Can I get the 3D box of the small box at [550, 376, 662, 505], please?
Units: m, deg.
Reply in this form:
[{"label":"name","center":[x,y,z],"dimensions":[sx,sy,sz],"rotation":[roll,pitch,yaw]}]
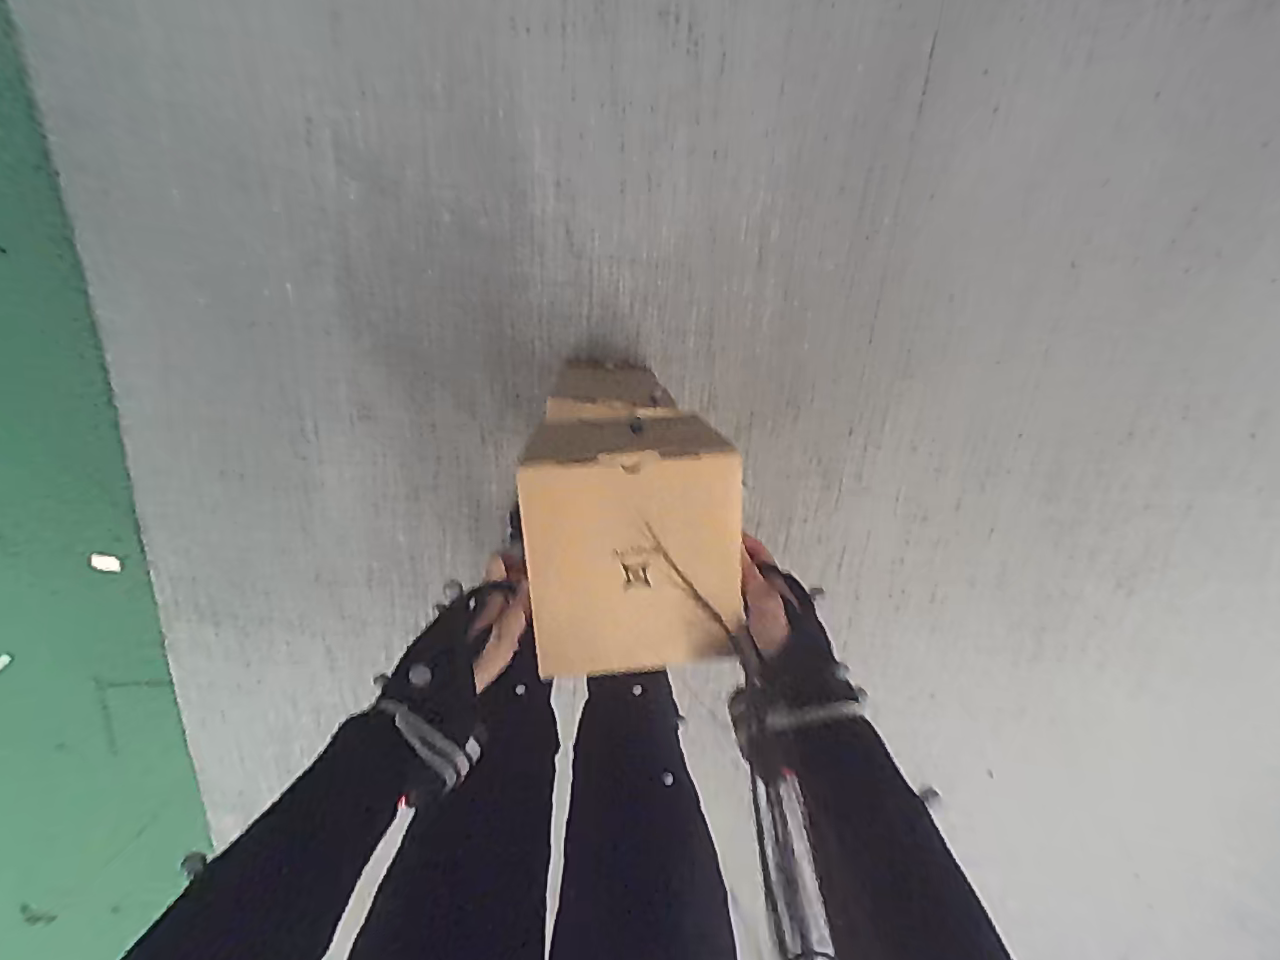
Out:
[{"label":"small box","center":[-0.058,-0.072,0.922],"dimensions":[0.168,0.176,0.179],"rotation":[4,109,-5]}]
